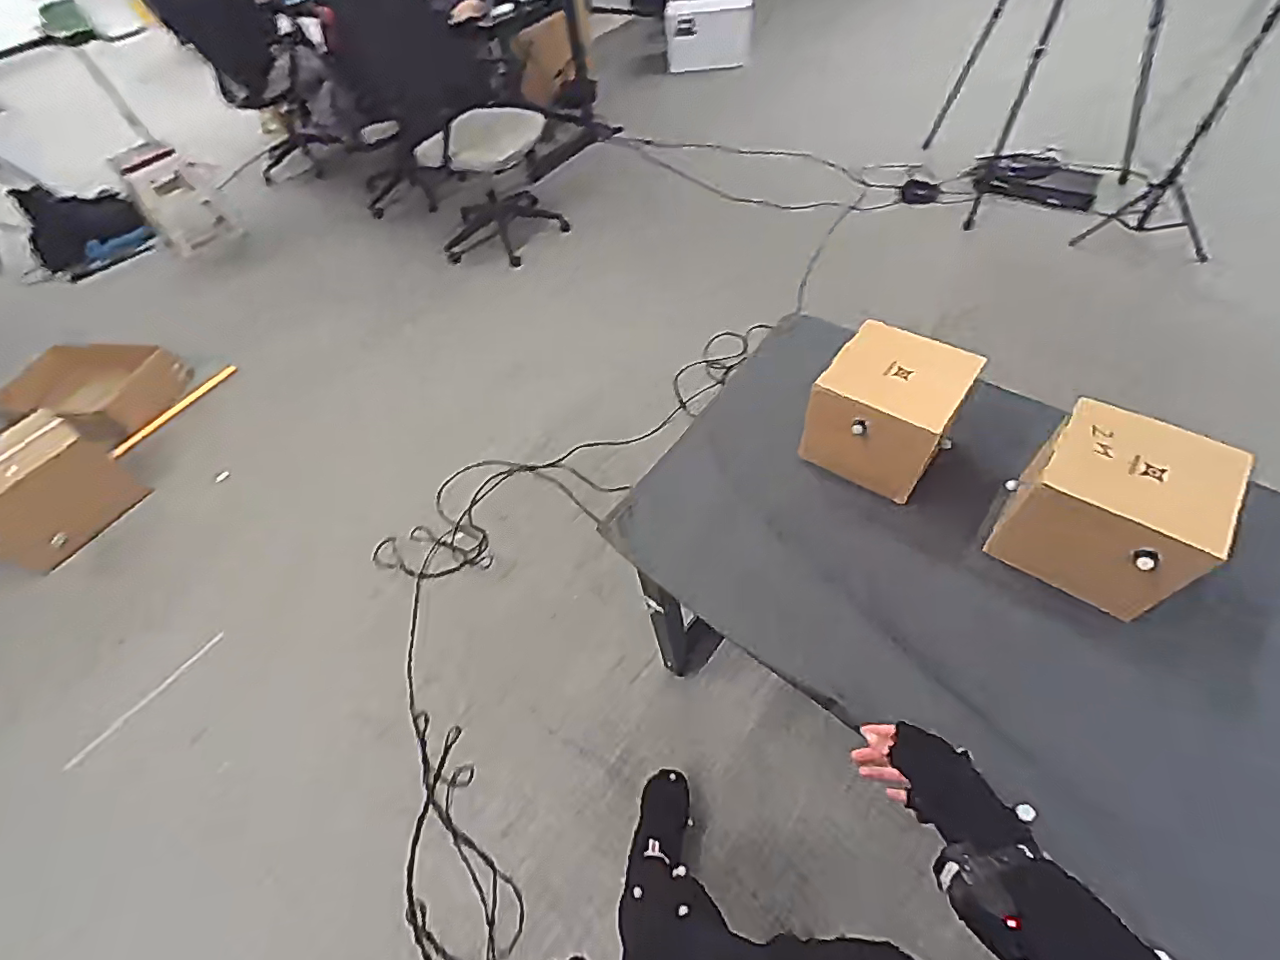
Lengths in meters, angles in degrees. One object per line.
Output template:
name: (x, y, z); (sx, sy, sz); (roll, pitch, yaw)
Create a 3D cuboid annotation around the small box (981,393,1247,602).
small box: (0.573, 0.029, 0.675); (0.179, 0.176, 0.168); (30, 63, 26)

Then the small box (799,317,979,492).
small box: (0.359, -0.107, 0.810); (0.179, 0.176, 0.168); (30, 64, 27)
